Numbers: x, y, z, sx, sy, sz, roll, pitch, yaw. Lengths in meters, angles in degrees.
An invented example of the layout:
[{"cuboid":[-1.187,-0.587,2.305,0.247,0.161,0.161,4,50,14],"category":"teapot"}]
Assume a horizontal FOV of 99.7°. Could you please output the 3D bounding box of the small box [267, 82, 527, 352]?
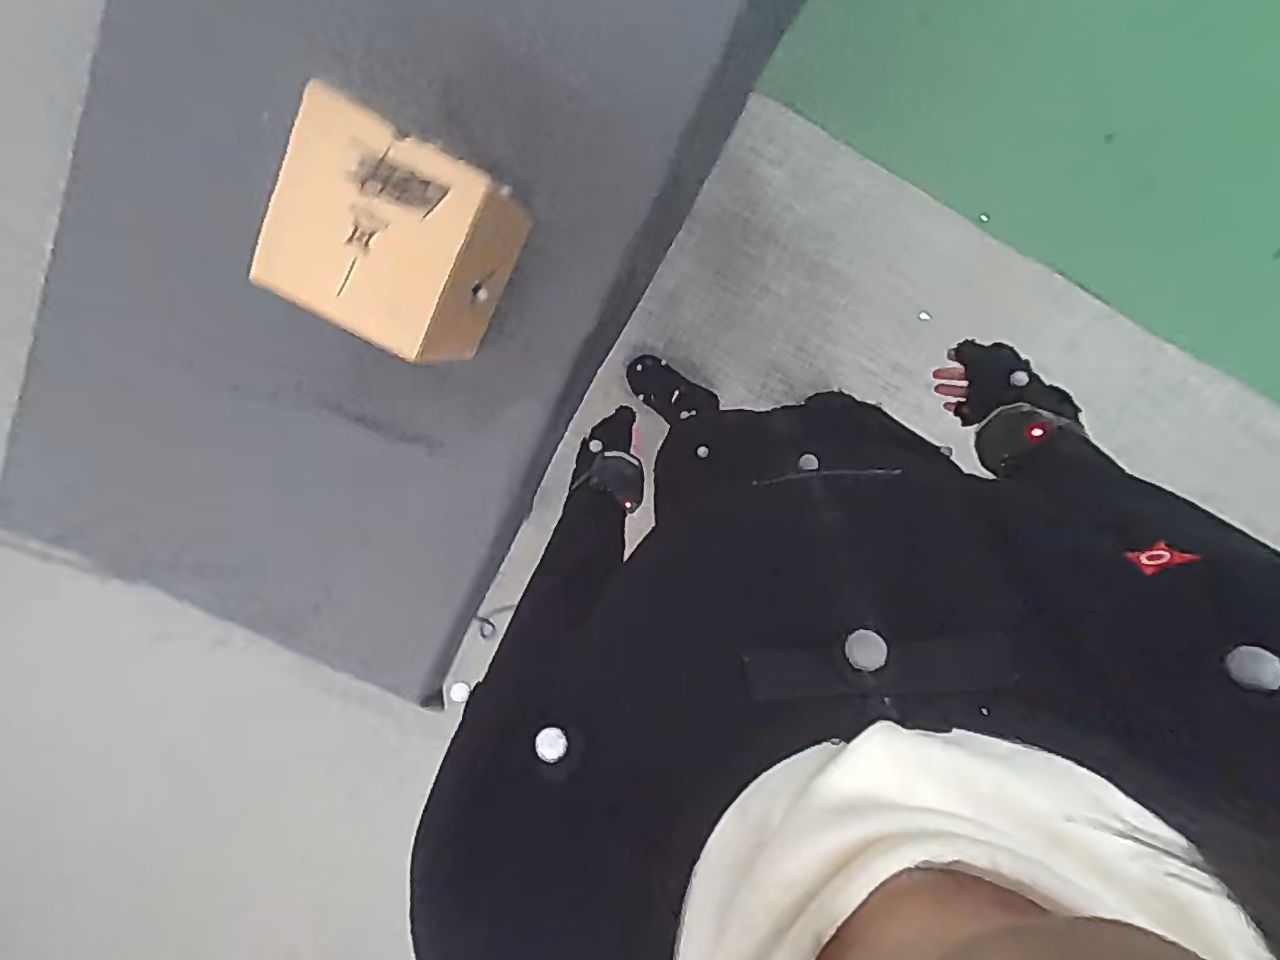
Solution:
[{"cuboid":[-0.230,-0.246,0.558,0.168,0.176,0.179,24,102,-4],"category":"small box"}]
